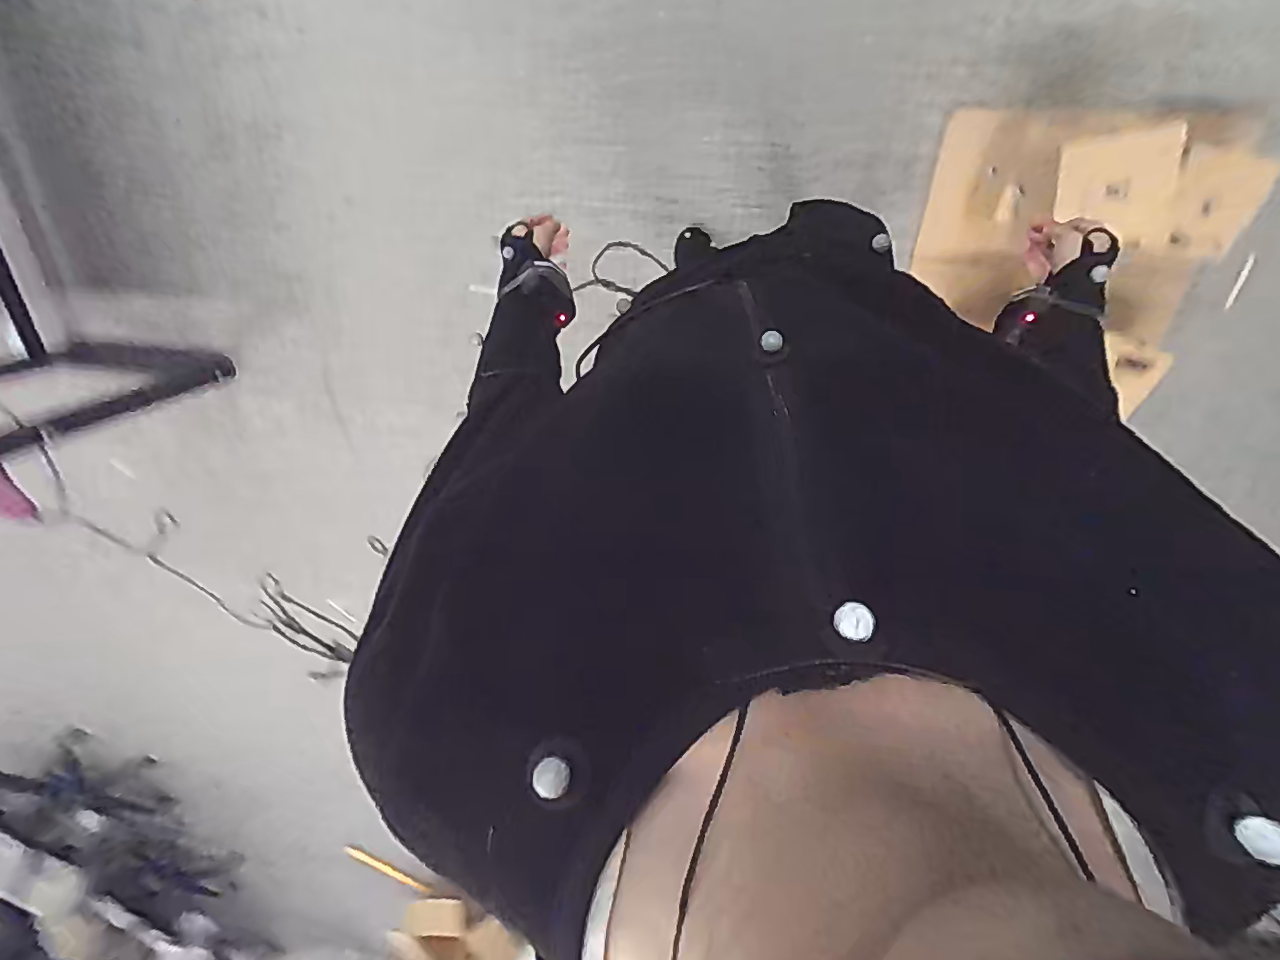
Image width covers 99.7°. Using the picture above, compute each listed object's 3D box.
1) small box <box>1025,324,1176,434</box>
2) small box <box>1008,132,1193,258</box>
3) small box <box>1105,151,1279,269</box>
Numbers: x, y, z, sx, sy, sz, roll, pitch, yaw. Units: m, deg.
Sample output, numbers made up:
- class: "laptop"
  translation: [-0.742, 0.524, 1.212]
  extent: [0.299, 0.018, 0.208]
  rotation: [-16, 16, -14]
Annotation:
- class: "small box"
  translation: [1.036, -0.238, 1.242]
  extent: [0.168, 0.176, 0.179]
  rotation: [20, 120, -2]
- class: "small box"
  translation: [0.798, -0.502, 0.960]
  extent: [0.179, 0.176, 0.168]
  rotation: [-5, 116, 11]
- class: "small box"
  translation: [1.081, -0.538, 1.085]
  extent: [0.168, 0.176, 0.179]
  rotation: [12, 118, 2]
